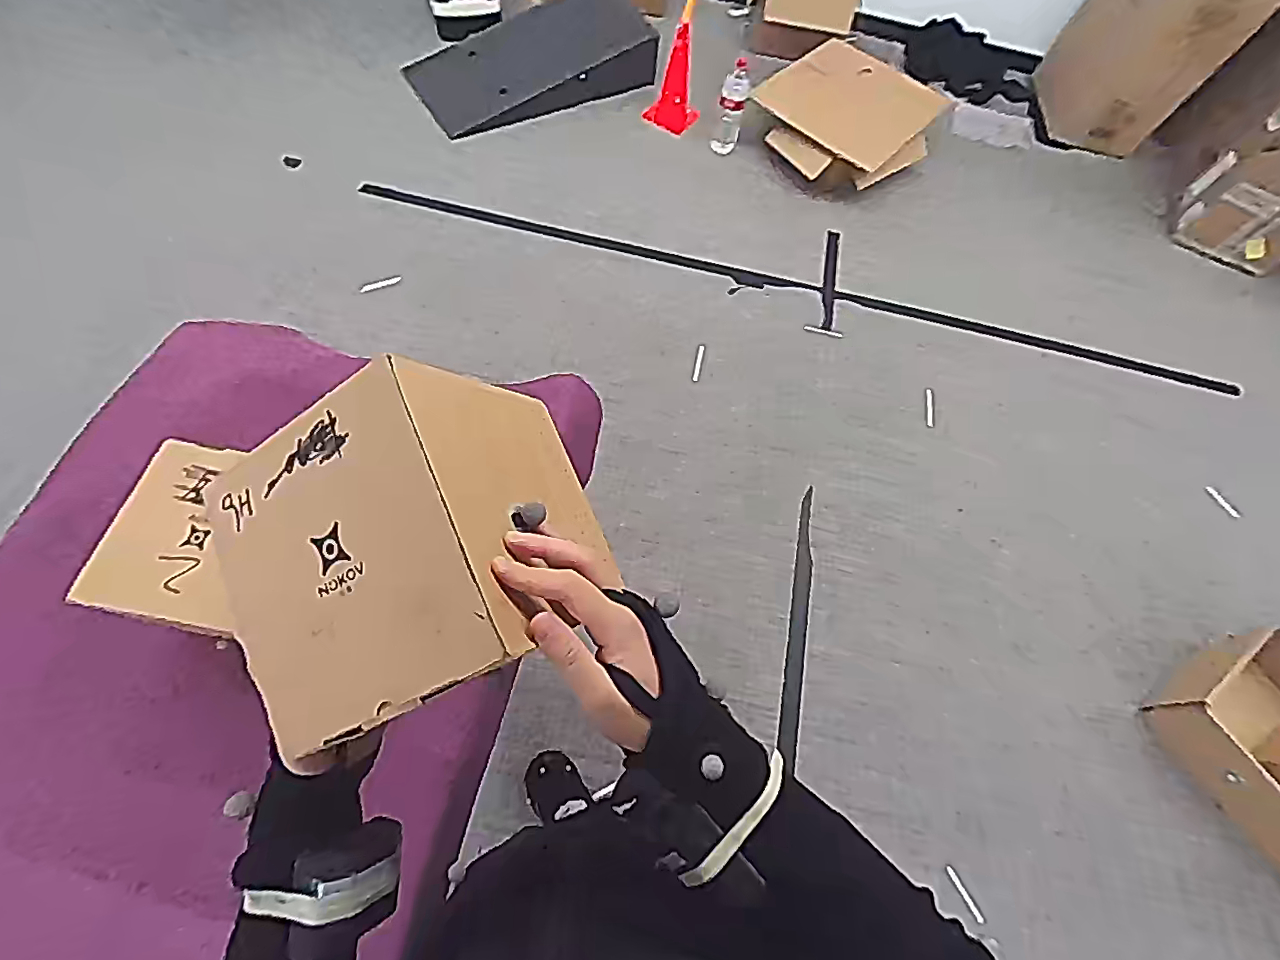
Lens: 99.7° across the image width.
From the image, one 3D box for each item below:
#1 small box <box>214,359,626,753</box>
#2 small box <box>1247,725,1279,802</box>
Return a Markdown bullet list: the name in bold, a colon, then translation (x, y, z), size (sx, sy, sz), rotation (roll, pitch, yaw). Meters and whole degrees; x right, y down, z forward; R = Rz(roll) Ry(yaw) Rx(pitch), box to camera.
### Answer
- **small box**: translation (-0.133, 0.045, 0.375), size (0.168, 0.176, 0.179), rotation (-29, 81, 16)
- **small box**: translation (1.684, 0.717, 1.331), size (0.179, 0.176, 0.168), rotation (-24, 69, -18)
